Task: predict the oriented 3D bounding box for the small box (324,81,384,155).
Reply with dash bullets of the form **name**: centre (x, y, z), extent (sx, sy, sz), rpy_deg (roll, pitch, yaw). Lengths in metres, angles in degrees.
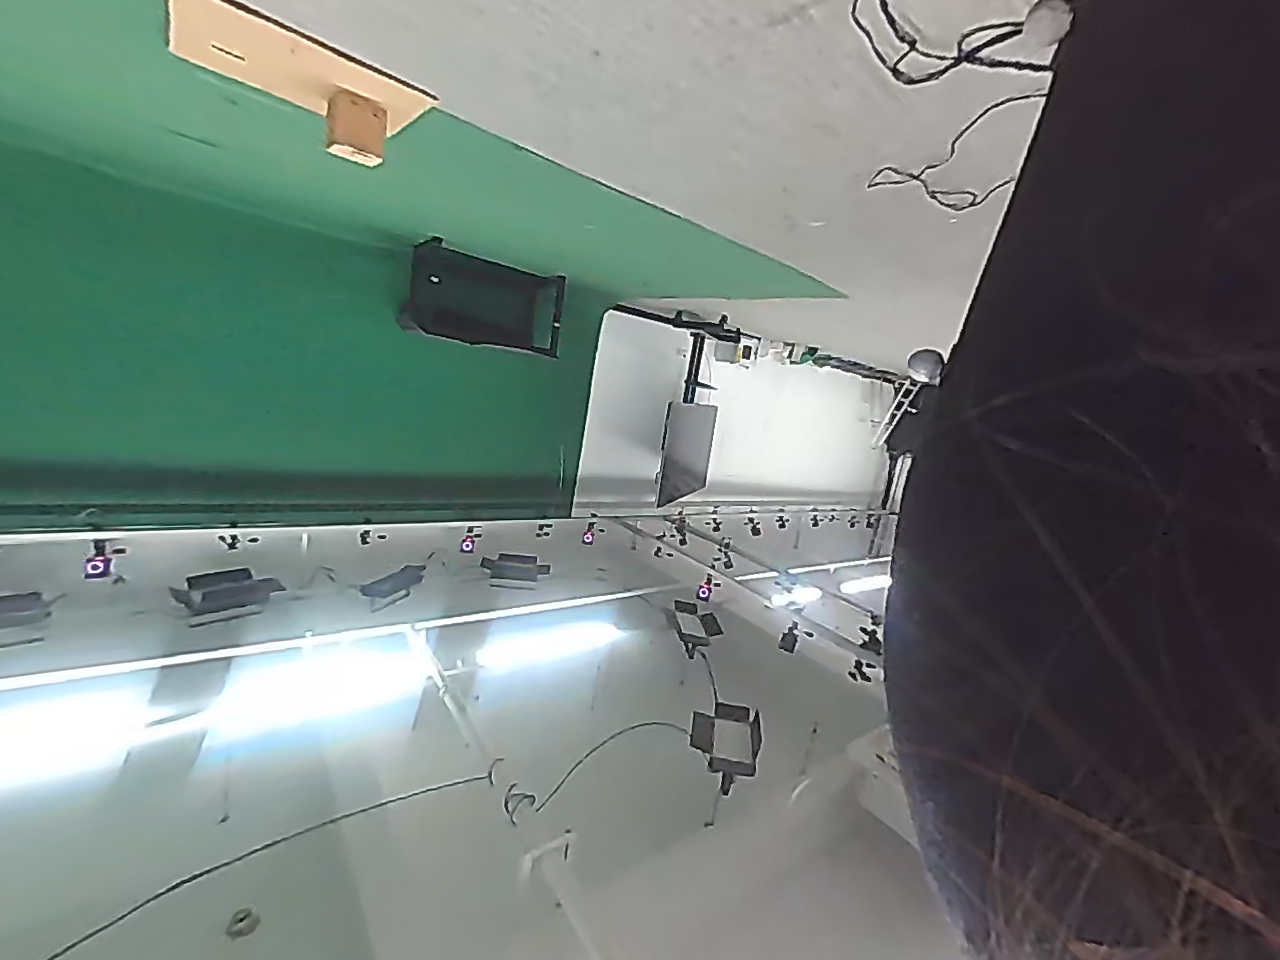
- **small box**: centre (-1.055, -1.332, 1.995), extent (0.168, 0.176, 0.179), rpy_deg (-1, -163, -42)
